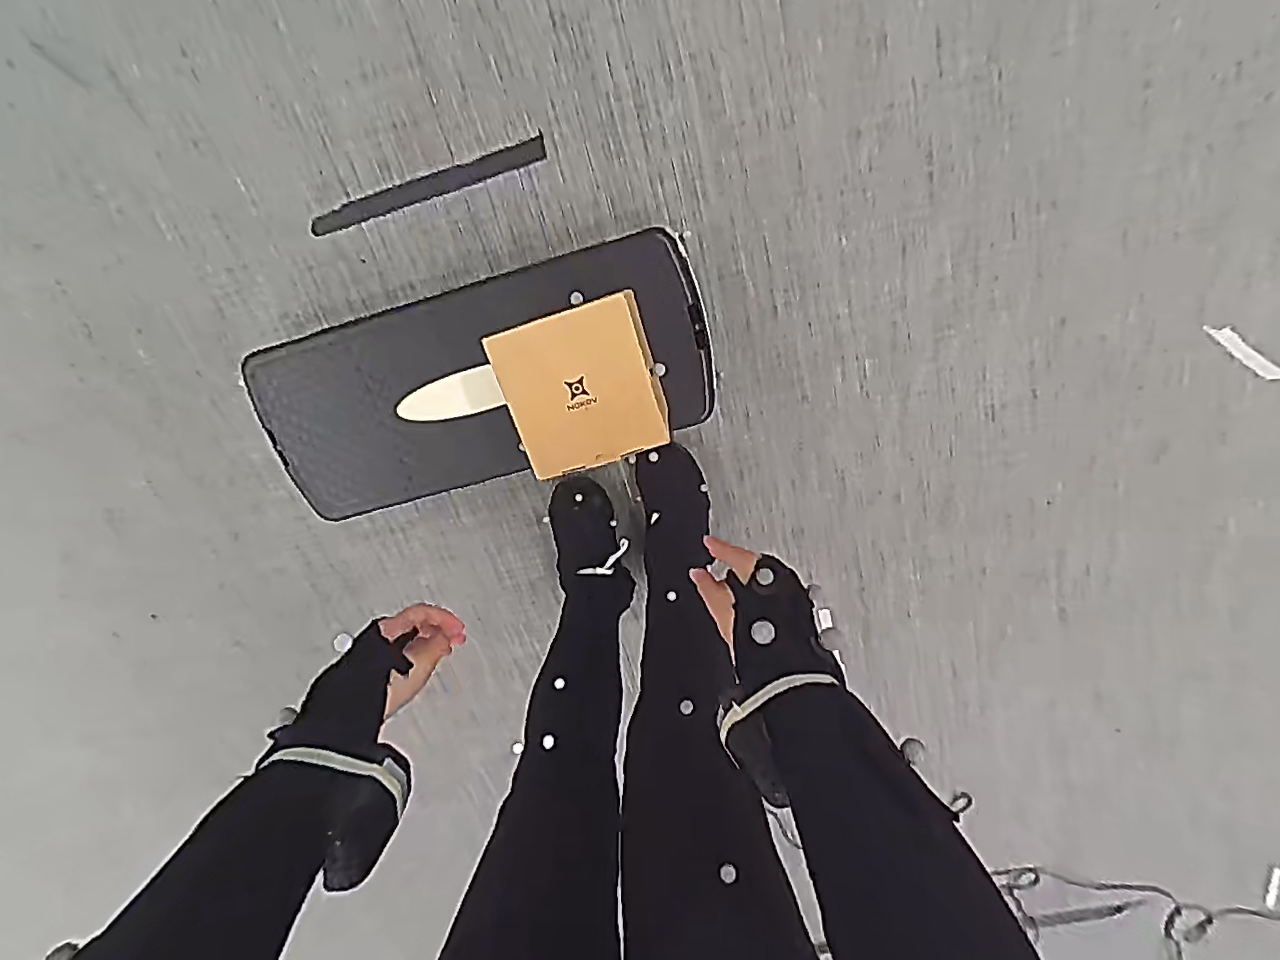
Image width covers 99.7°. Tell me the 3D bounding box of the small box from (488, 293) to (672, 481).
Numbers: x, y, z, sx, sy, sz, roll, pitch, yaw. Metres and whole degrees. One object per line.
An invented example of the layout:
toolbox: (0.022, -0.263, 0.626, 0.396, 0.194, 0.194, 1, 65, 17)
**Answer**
small box: (-0.065, -0.125, 0.678, 0.168, 0.176, 0.179, -16, 110, 7)
